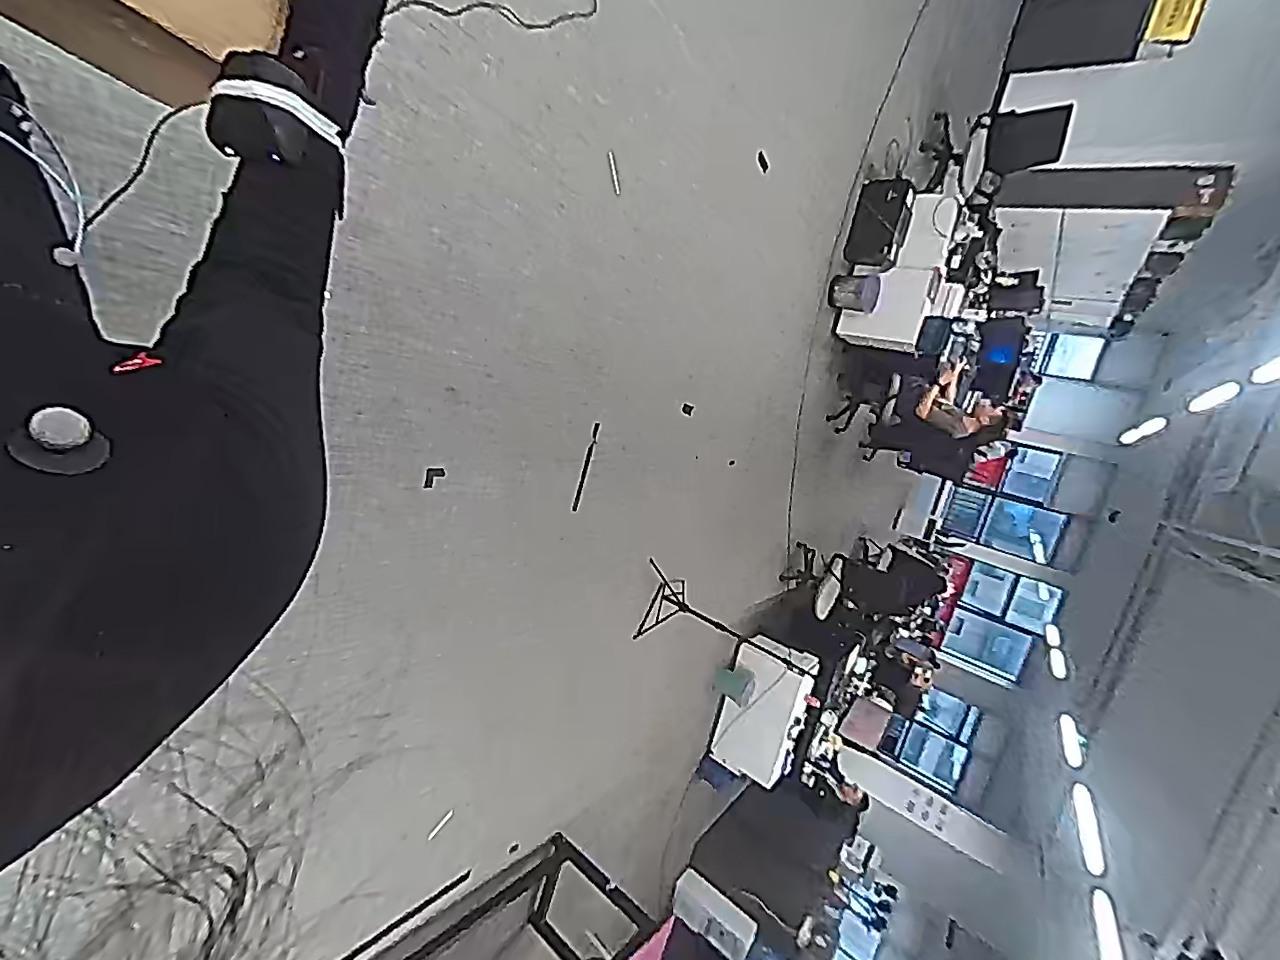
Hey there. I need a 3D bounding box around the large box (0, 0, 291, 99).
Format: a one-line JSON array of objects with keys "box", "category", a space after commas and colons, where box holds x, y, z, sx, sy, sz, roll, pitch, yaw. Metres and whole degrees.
[{"box": [-0.466, -0.523, 0.331, 0.408, 0.320, 0.320, 12, 102, -55], "category": "large box"}]
